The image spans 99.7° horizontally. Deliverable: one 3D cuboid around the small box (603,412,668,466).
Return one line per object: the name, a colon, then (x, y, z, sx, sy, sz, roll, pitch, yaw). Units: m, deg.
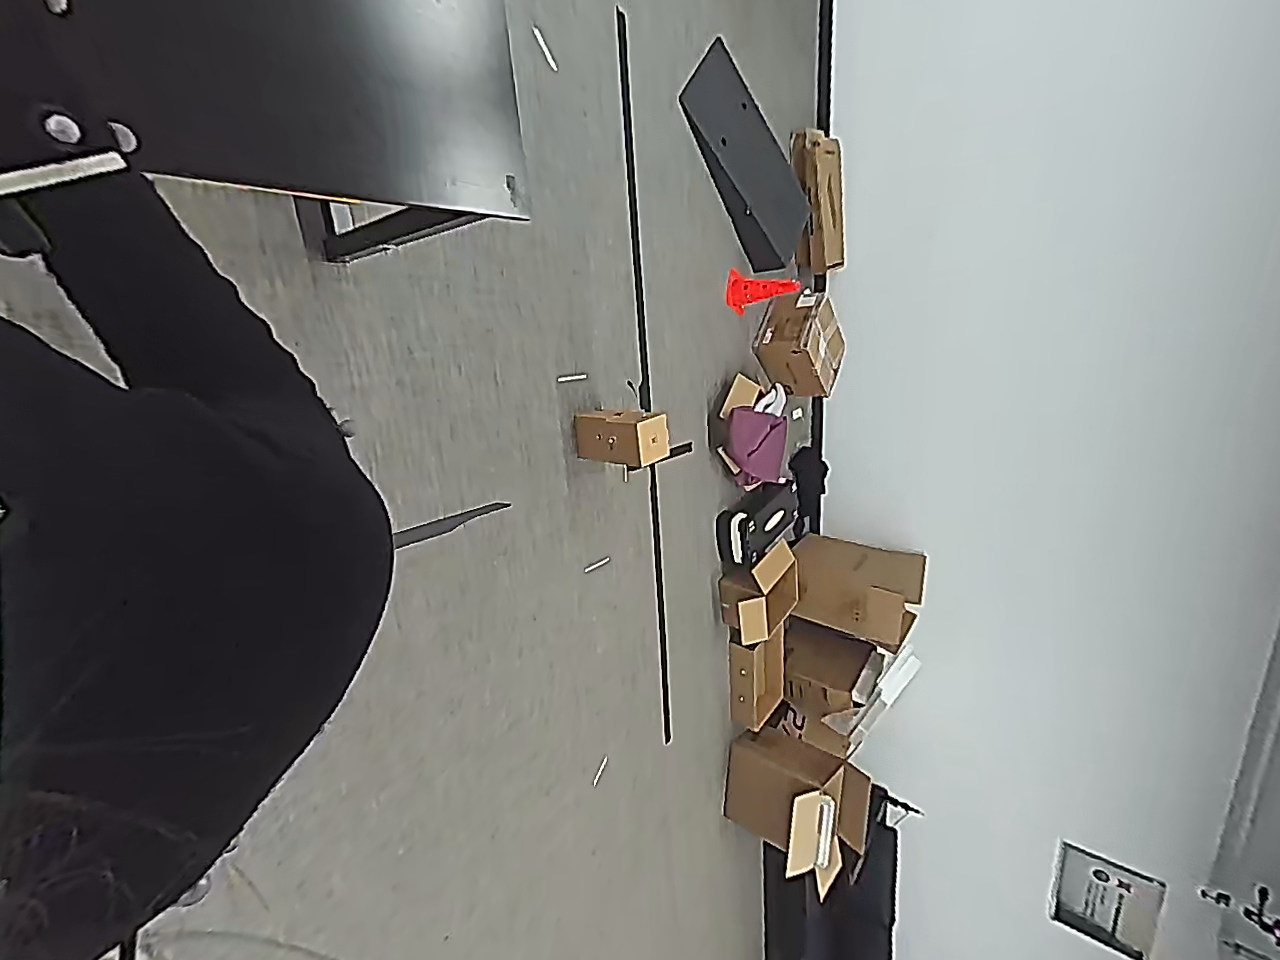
small box: (-0.016, -0.160, 2.032, 0.179, 0.176, 0.168, -25, 115, -45)

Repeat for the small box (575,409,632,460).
small box: (-0.140, -0.184, 2.134, 0.168, 0.176, 0.179, -23, 115, -47)
